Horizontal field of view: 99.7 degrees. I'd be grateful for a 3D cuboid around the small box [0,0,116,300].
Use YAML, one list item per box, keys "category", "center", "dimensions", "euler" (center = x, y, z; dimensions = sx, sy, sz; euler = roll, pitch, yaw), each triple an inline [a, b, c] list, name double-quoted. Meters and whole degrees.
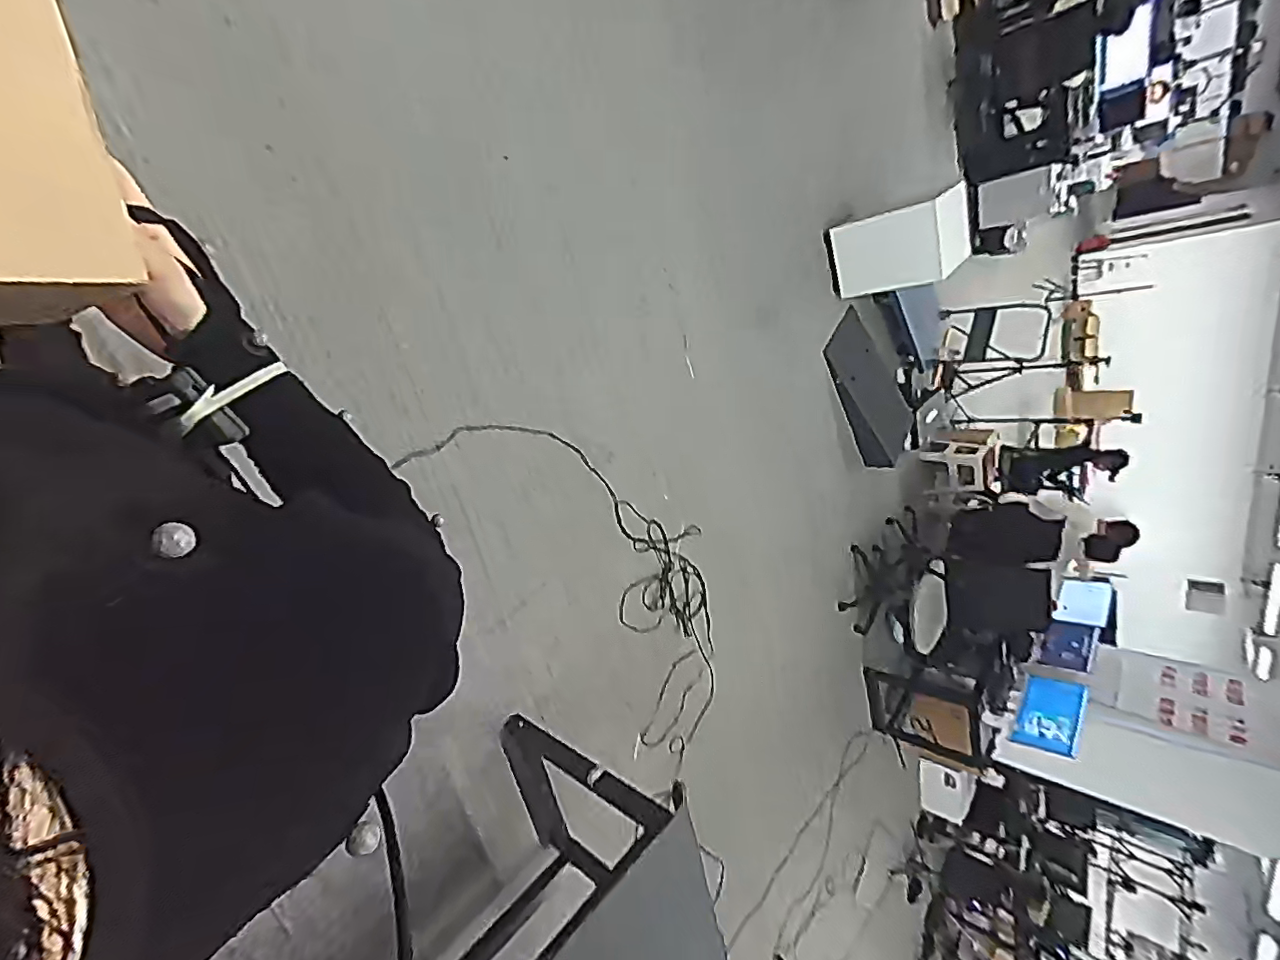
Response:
- category: "small box"
  center: [-0.396, -0.177, 0.241]
  dimensions: [0.168, 0.176, 0.179]
  euler: [-31, 119, -56]
